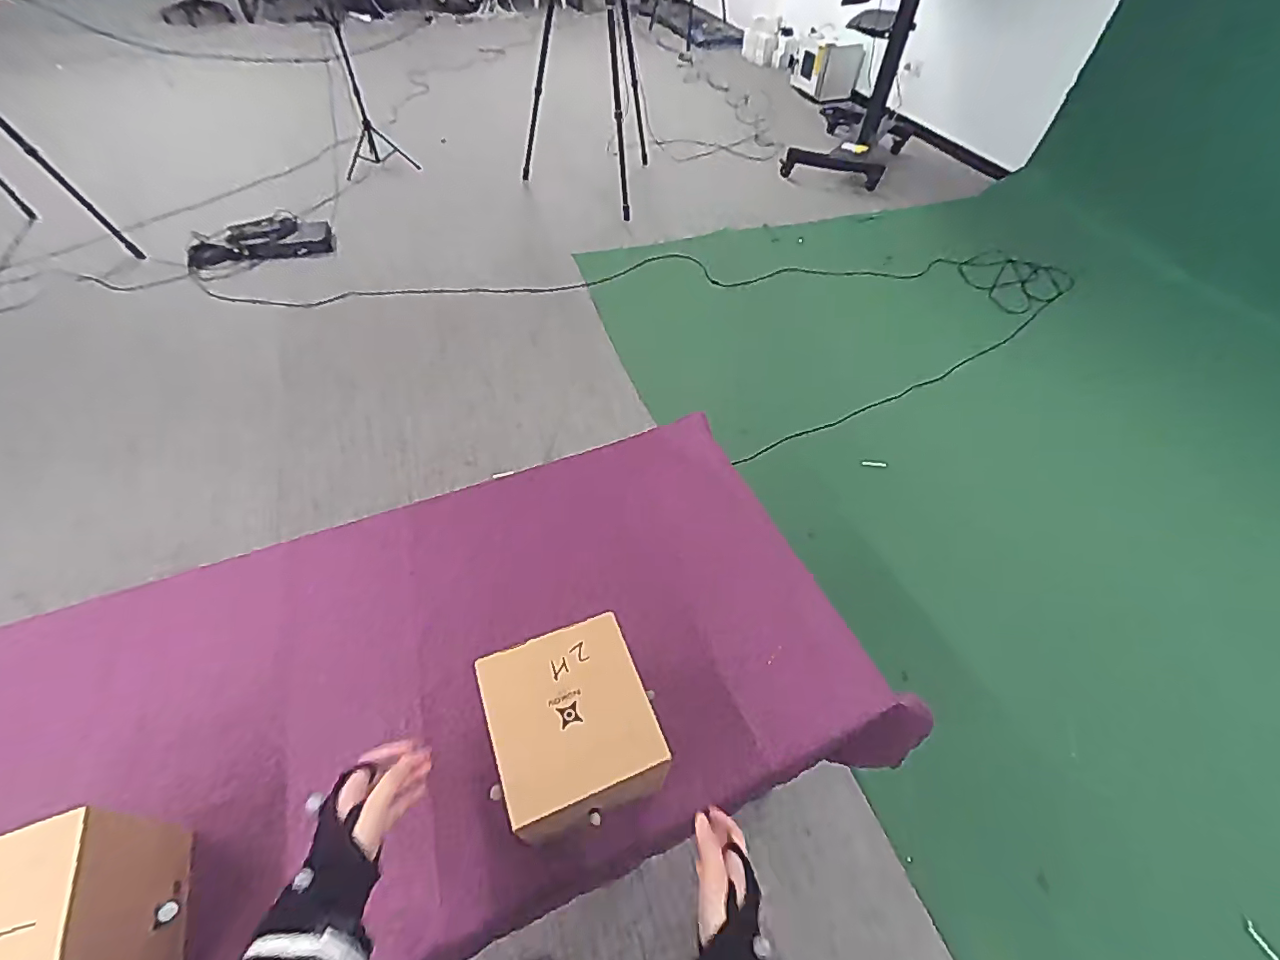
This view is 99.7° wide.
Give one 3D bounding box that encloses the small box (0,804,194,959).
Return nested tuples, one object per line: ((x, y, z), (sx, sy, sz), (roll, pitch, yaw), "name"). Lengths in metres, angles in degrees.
((-0.567, 0.436, 0.500), (0.179, 0.176, 0.168), (-16, 53, -16), "small box")

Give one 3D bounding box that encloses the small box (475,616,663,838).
((-0.082, 0.295, 0.637), (0.168, 0.176, 0.179), (-16, 53, -15), "small box")
